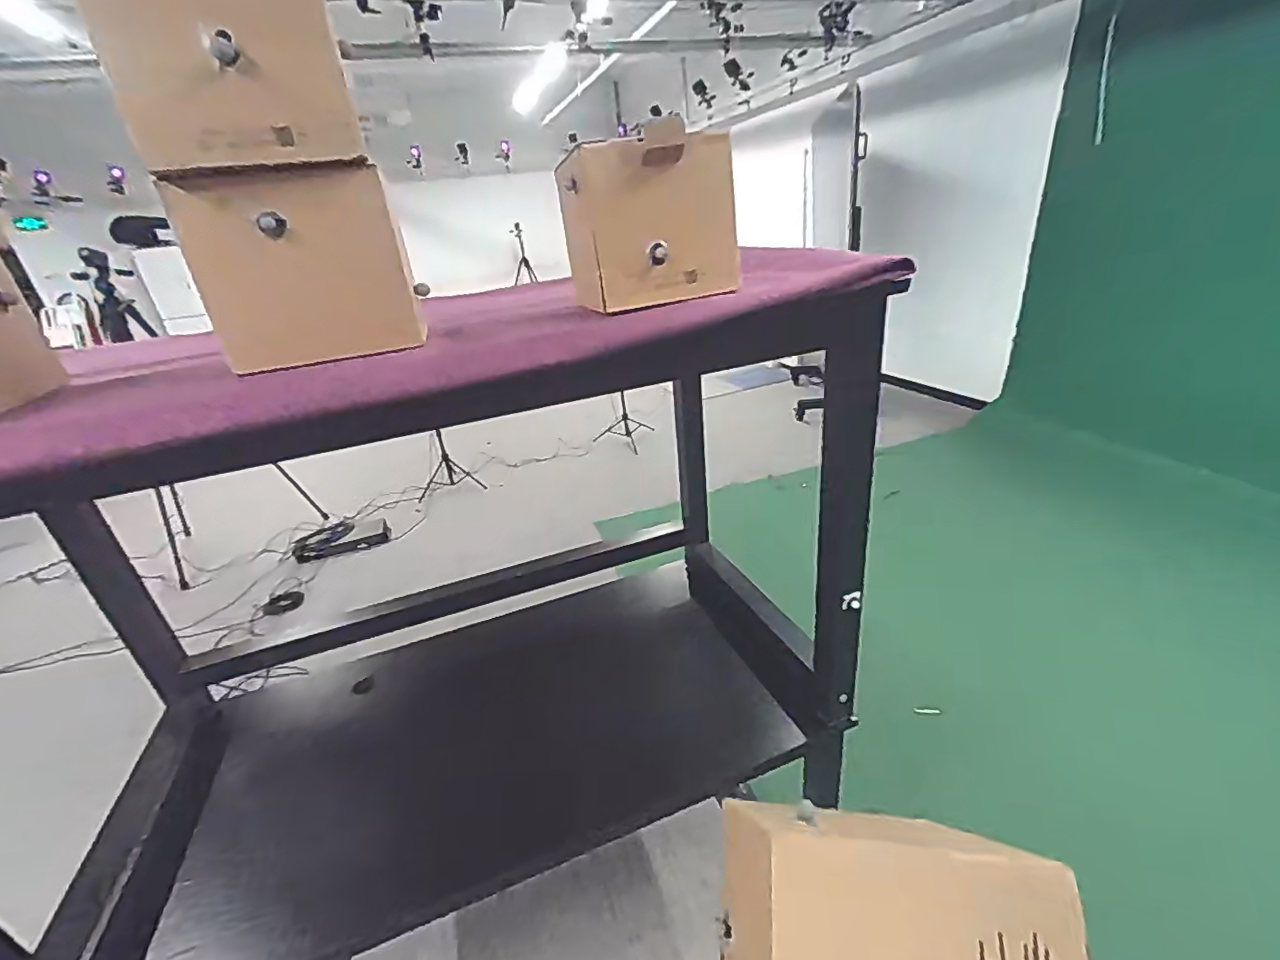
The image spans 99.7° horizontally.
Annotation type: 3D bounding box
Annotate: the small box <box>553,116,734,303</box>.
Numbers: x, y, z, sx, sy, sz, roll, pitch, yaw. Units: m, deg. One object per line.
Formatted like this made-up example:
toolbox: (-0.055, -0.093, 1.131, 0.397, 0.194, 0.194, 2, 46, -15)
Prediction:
small box: (0.000, -0.312, 0.648, 0.168, 0.176, 0.179, -15, 25, -12)

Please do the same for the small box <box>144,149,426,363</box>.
small box: (-0.338, -0.225, 0.560, 0.179, 0.176, 0.168, -14, 25, -15)

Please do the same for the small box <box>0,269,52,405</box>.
small box: (-0.651, -0.126, 0.437, 0.168, 0.176, 0.179, -17, 29, -18)

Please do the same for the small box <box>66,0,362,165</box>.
small box: (-0.359, -0.368, 0.480, 0.168, 0.176, 0.179, -16, 27, -19)
